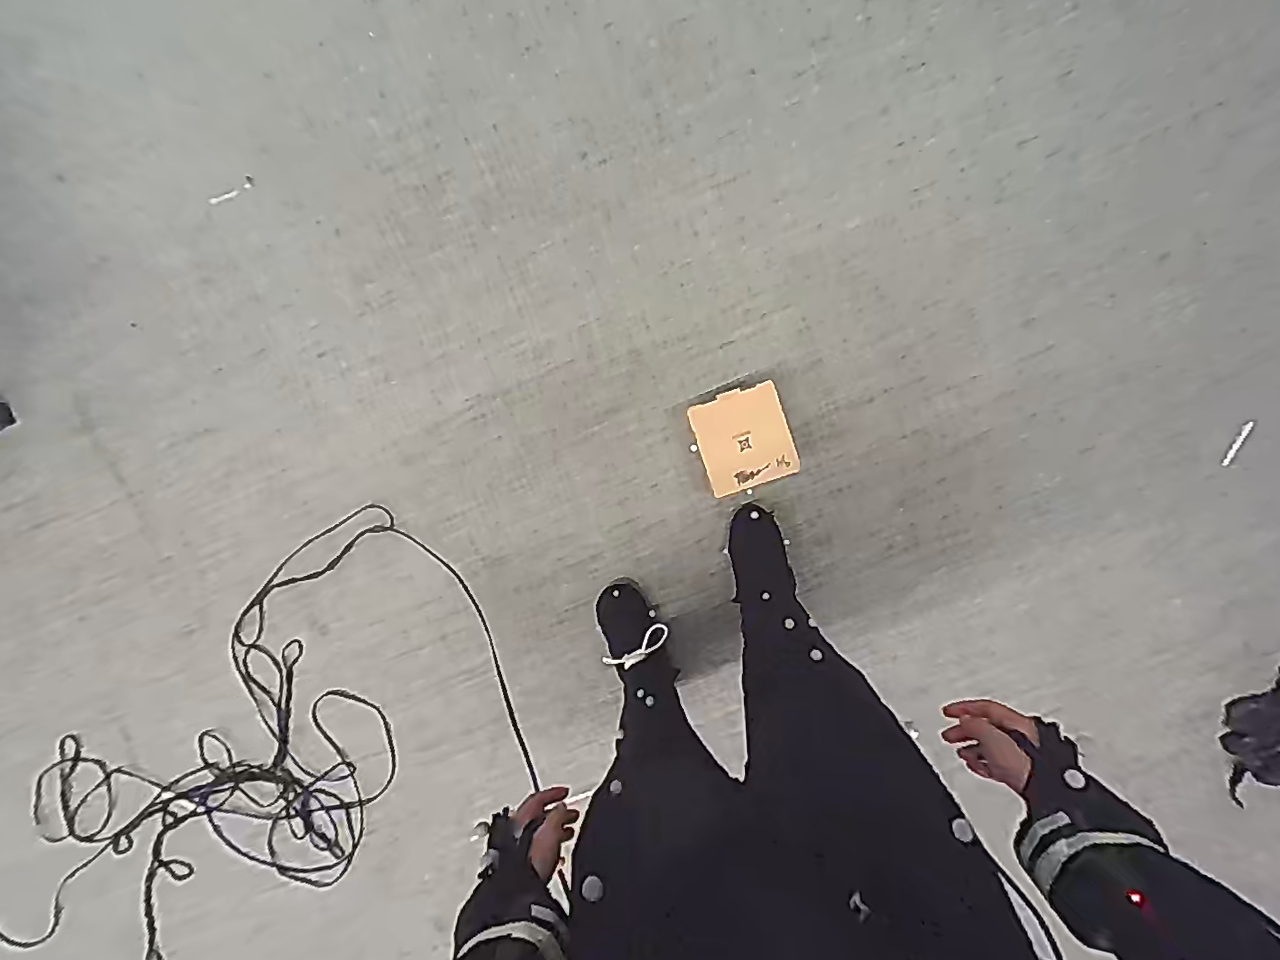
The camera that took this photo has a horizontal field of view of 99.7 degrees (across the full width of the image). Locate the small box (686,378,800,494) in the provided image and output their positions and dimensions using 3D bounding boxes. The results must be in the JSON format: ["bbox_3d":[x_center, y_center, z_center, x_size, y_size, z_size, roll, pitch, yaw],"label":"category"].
[{"bbox_3d":[0.191,-0.081,1.056,0.168,0.176,0.179,-19,91,5],"label":"small box"}]
